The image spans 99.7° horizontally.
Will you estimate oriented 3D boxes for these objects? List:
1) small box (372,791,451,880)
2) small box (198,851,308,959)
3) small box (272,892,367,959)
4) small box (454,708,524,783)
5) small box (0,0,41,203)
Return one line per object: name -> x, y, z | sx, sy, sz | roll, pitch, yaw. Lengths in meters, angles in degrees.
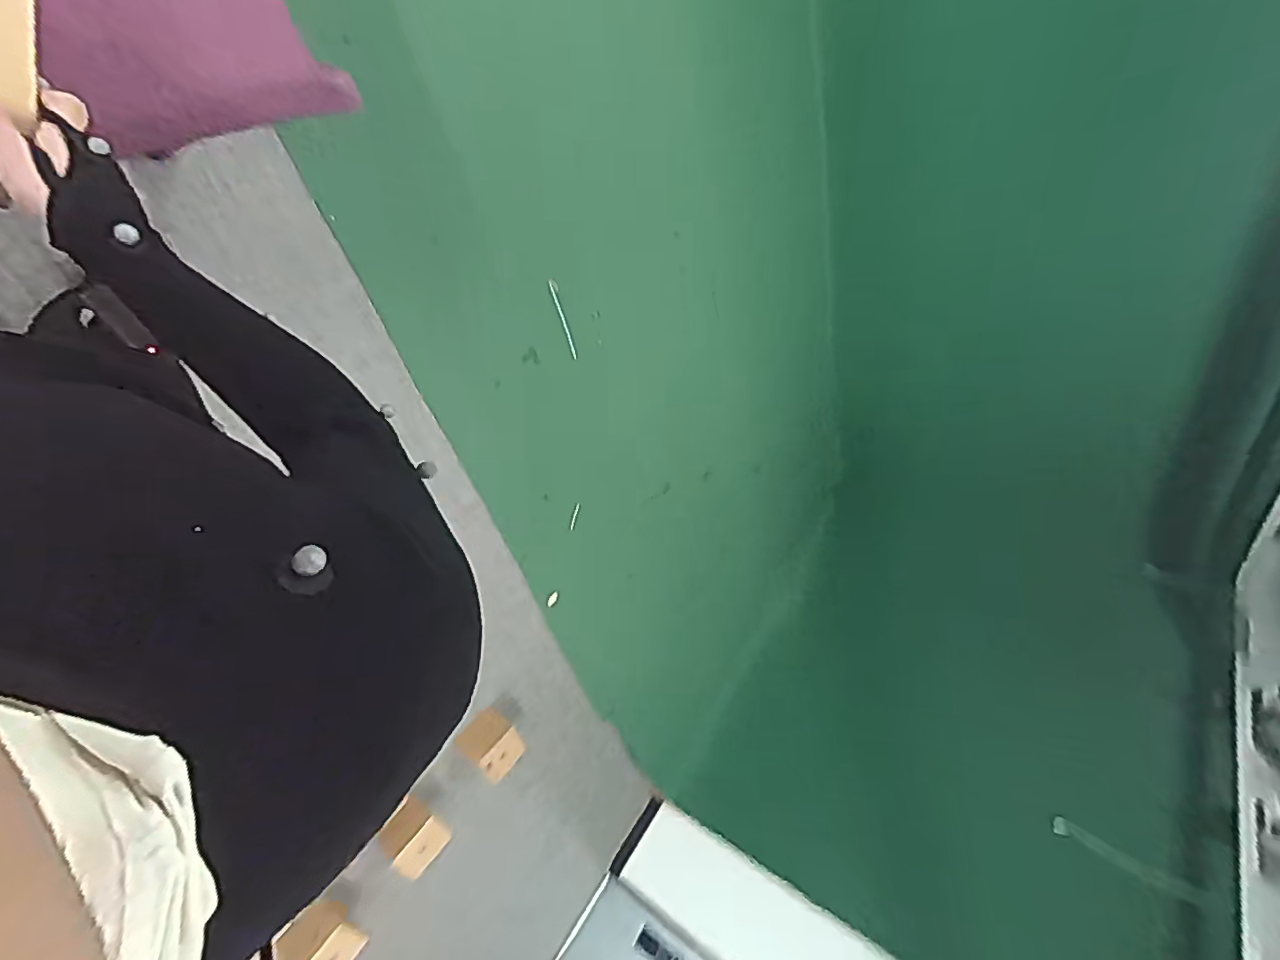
small box -> -0.819, 1.258, 1.922 | 0.179, 0.176, 0.168 | -45, 134, -34
small box -> -1.109, 1.217, 1.548 | 0.179, 0.176, 0.168 | -45, 133, -32
small box -> -1.026, 1.475, 1.727 | 0.179, 0.176, 0.168 | -46, 133, -33
small box -> -0.595, 1.040, 2.134 | 0.179, 0.176, 0.168 | -43, 131, -36
small box -> -0.602, -0.353, 0.422 | 0.168, 0.176, 0.179 | 1, 86, -55
